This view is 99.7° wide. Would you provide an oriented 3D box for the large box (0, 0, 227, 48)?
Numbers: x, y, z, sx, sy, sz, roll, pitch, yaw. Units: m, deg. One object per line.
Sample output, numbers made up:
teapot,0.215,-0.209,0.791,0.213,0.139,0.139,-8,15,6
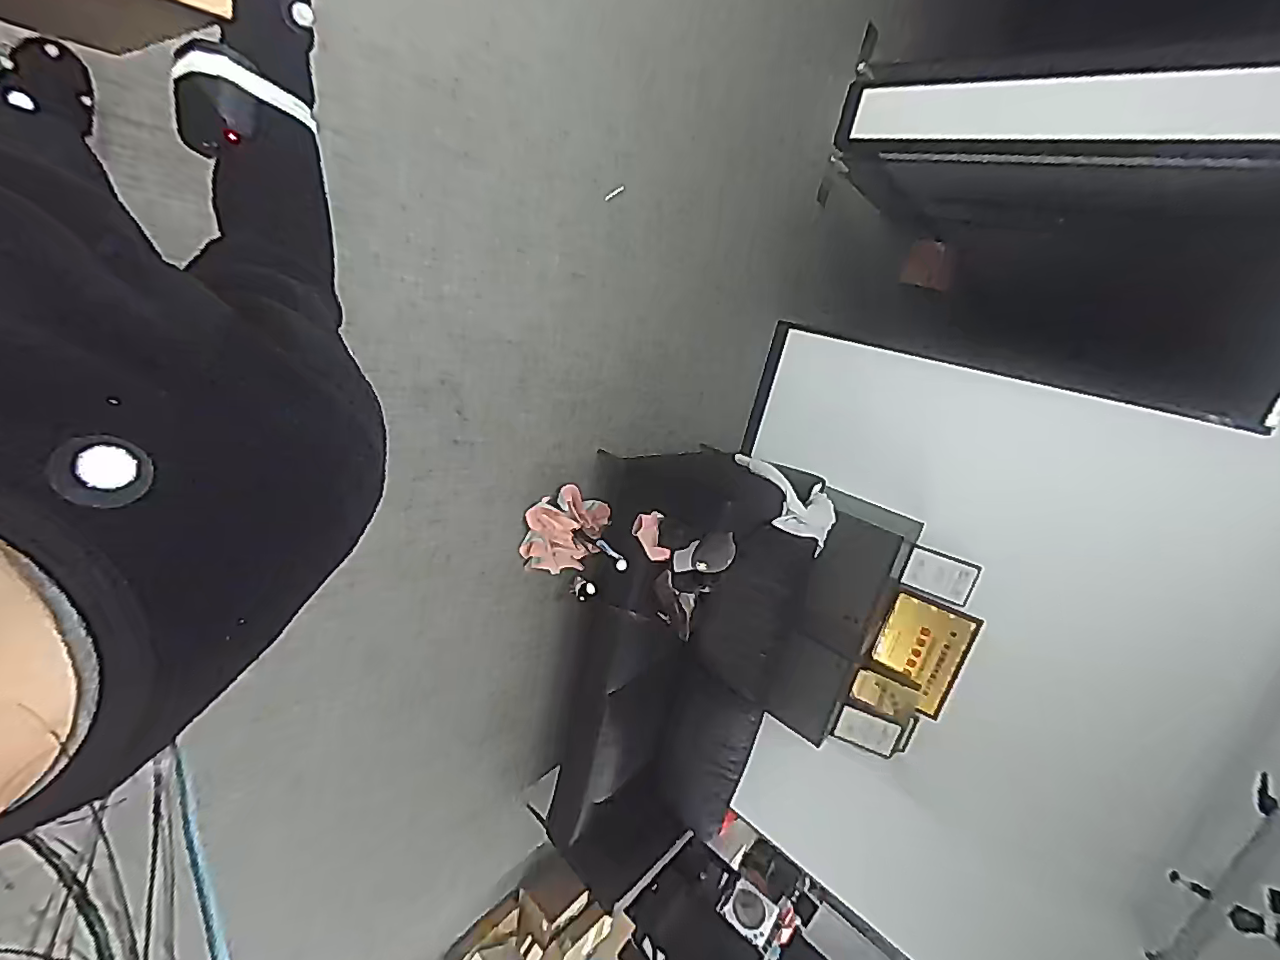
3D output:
large box,-0.524,-0.488,0.280,0.408,0.320,0.320,-19,124,-49
